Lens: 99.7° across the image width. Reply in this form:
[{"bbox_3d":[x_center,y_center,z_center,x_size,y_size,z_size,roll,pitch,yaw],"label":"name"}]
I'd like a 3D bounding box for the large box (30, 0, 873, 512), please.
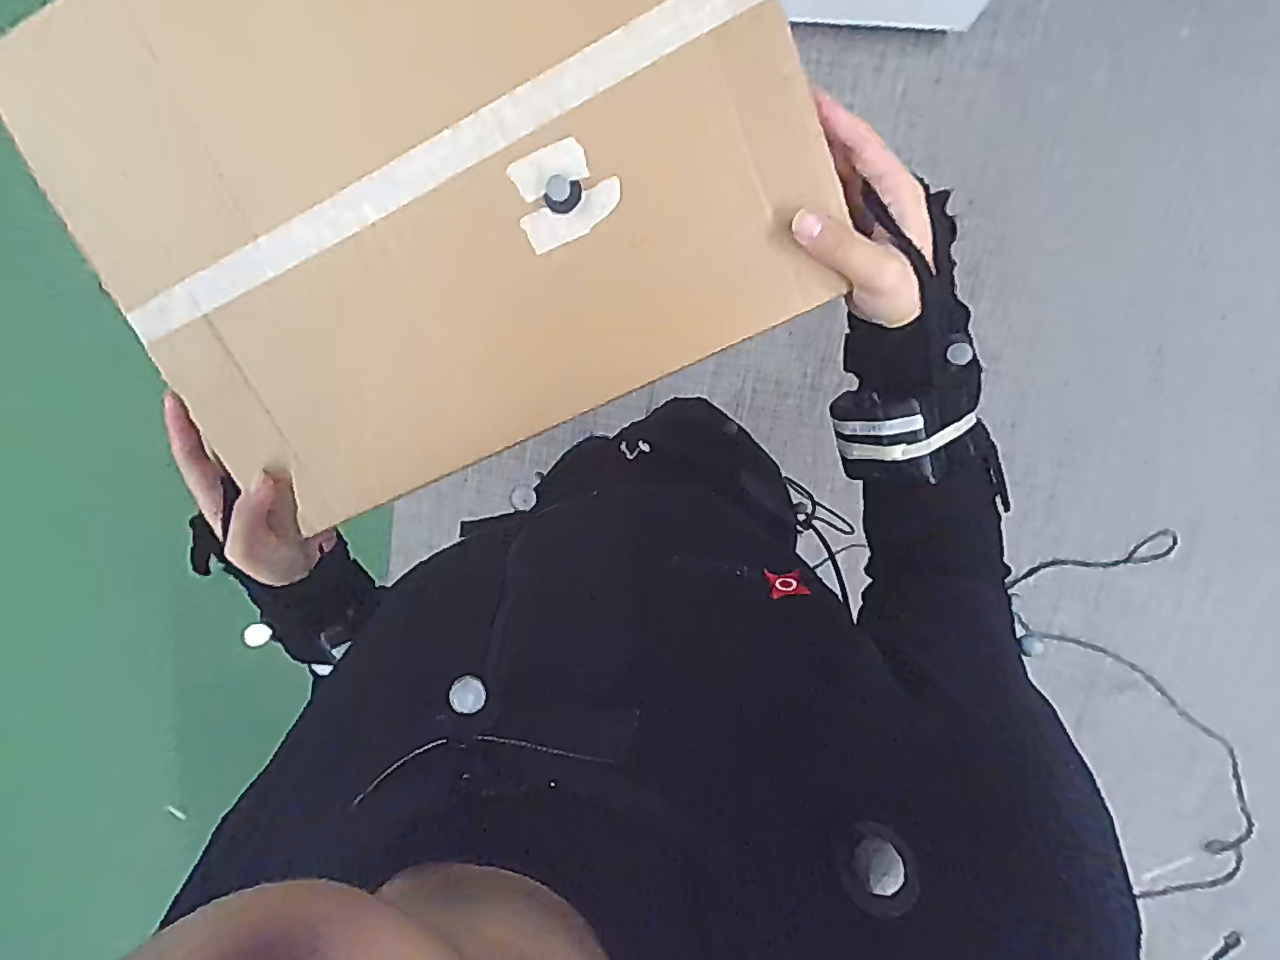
[{"bbox_3d":[-0.100,-0.223,0.451,0.408,0.320,0.320,-23,103,8],"label":"large box"}]
